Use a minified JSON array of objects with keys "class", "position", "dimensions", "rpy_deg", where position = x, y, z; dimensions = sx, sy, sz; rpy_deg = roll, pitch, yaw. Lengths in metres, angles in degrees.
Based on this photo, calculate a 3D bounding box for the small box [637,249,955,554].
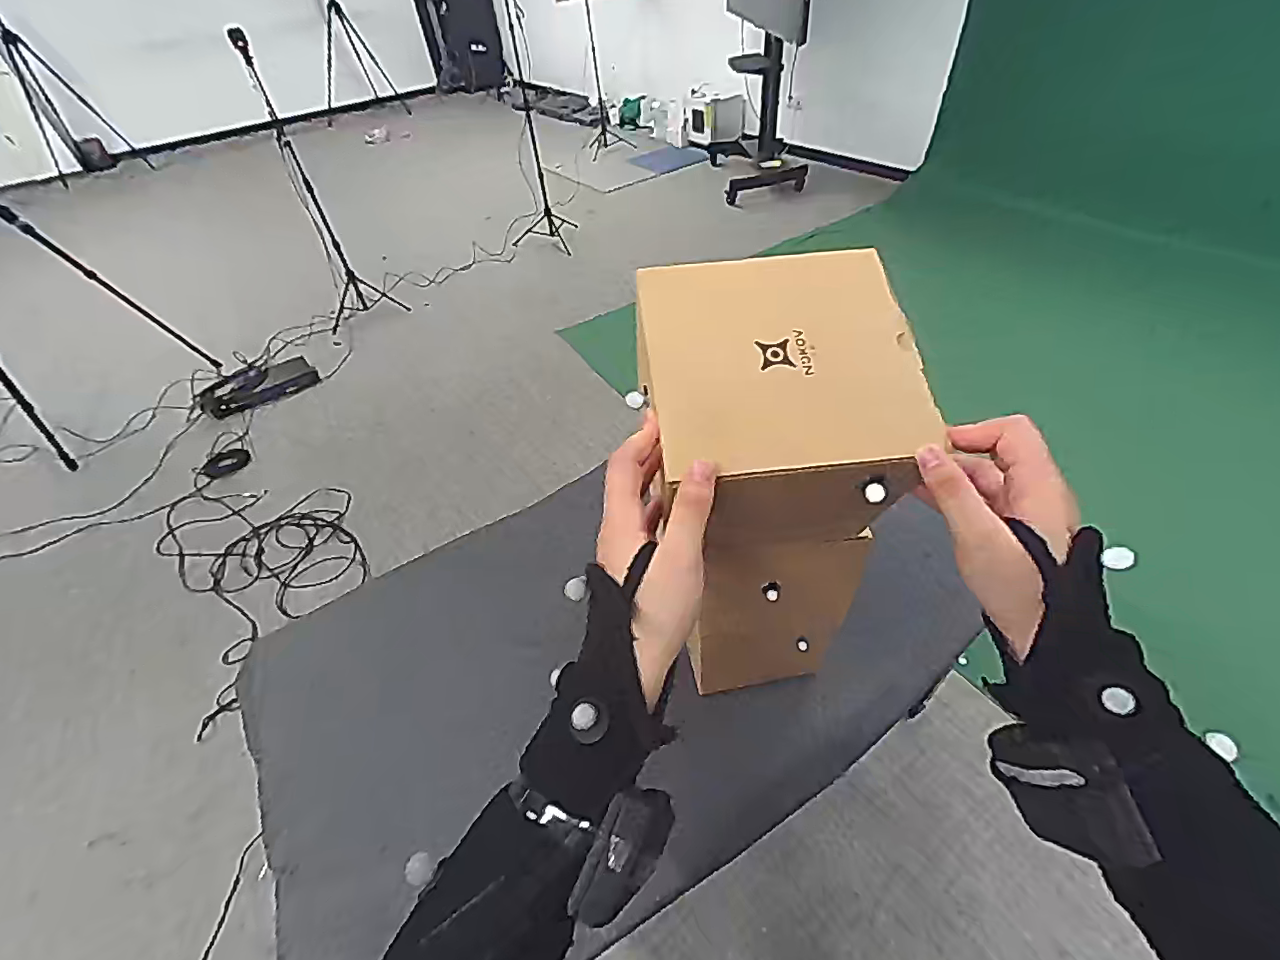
[{"class":"small box","position":[0.094,-0.048,0.420],"dimensions":[0.179,0.176,0.168],"rpy_deg":[-6,67,-2]}]

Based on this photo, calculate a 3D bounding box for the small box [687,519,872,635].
[{"class":"small box","position":[0.145,0.067,0.641],"dimensions":[0.179,0.176,0.168],"rpy_deg":[-5,44,2]}]
